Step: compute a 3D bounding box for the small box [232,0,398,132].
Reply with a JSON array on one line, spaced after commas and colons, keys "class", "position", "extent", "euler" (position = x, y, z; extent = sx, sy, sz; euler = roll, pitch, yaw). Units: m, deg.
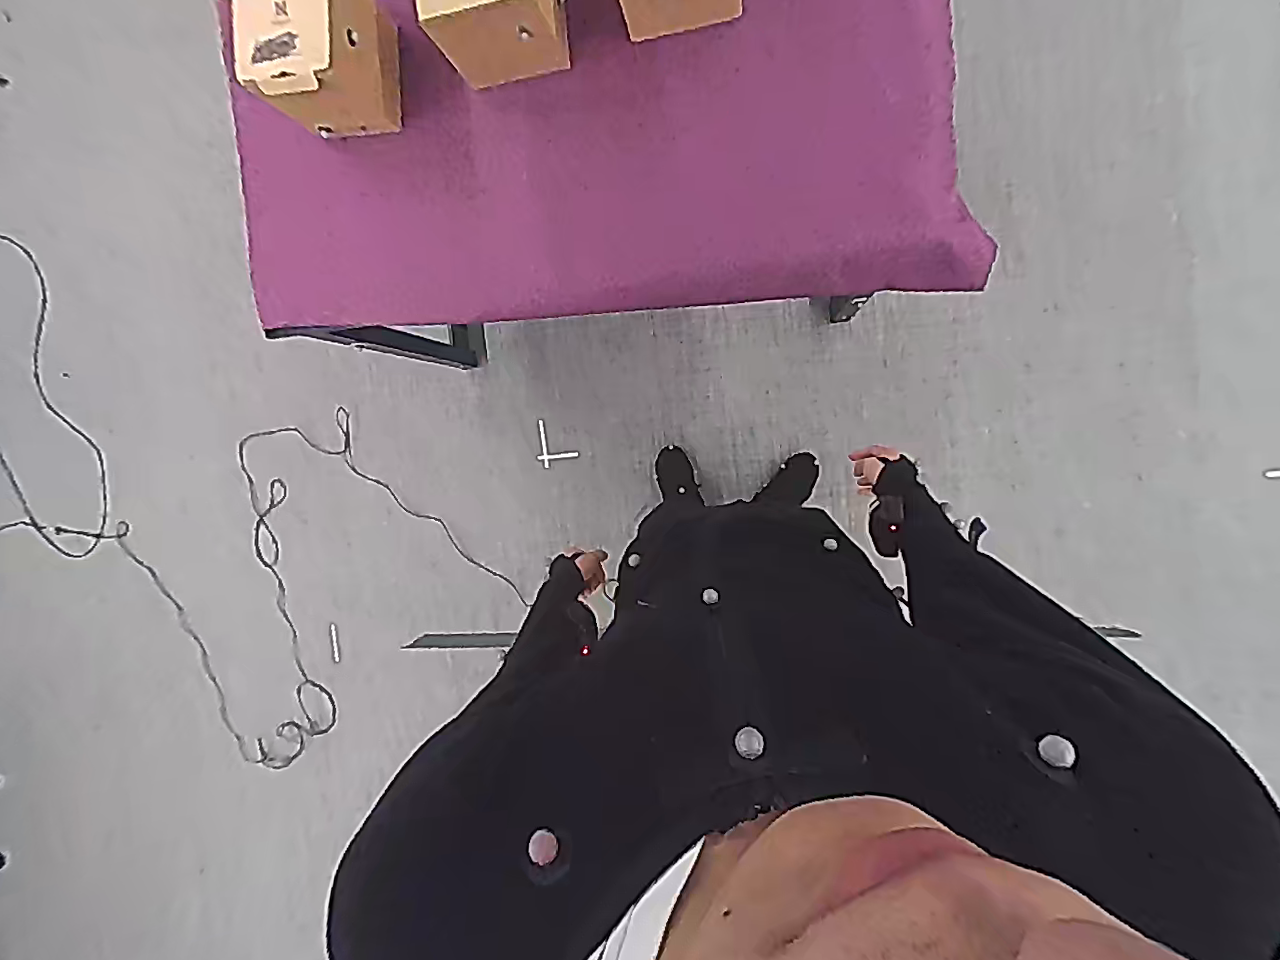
[{"class": "small box", "position": [-0.513, -0.691, 0.873], "extent": [0.168, 0.176, 0.179], "euler": [2, 96, 10]}]
